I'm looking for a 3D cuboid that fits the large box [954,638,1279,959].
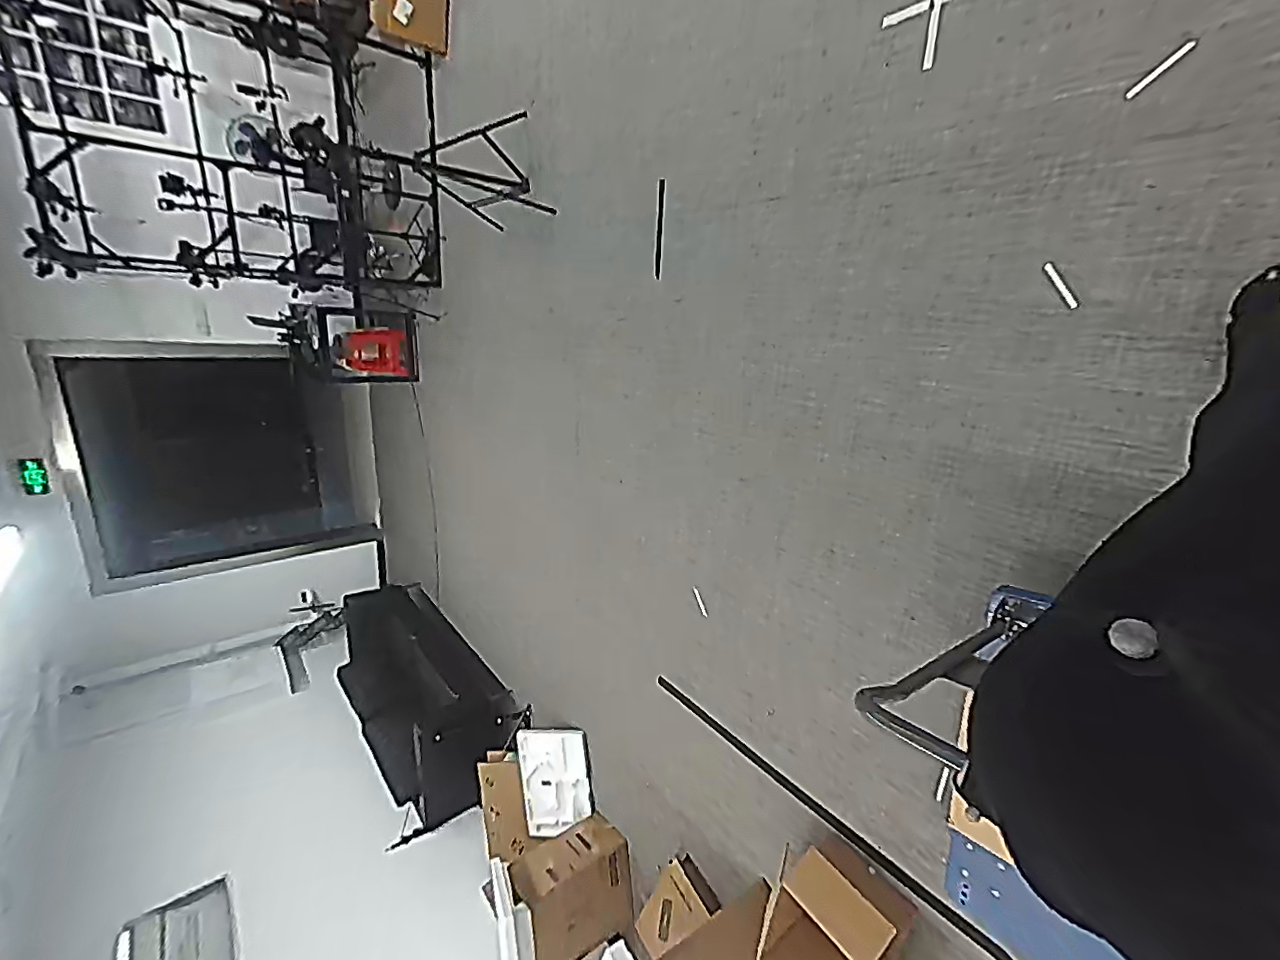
[{"bbox_3d":[0.868,0.544,0.986,0.408,0.320,0.320,16,110,51],"label":"large box"}]
